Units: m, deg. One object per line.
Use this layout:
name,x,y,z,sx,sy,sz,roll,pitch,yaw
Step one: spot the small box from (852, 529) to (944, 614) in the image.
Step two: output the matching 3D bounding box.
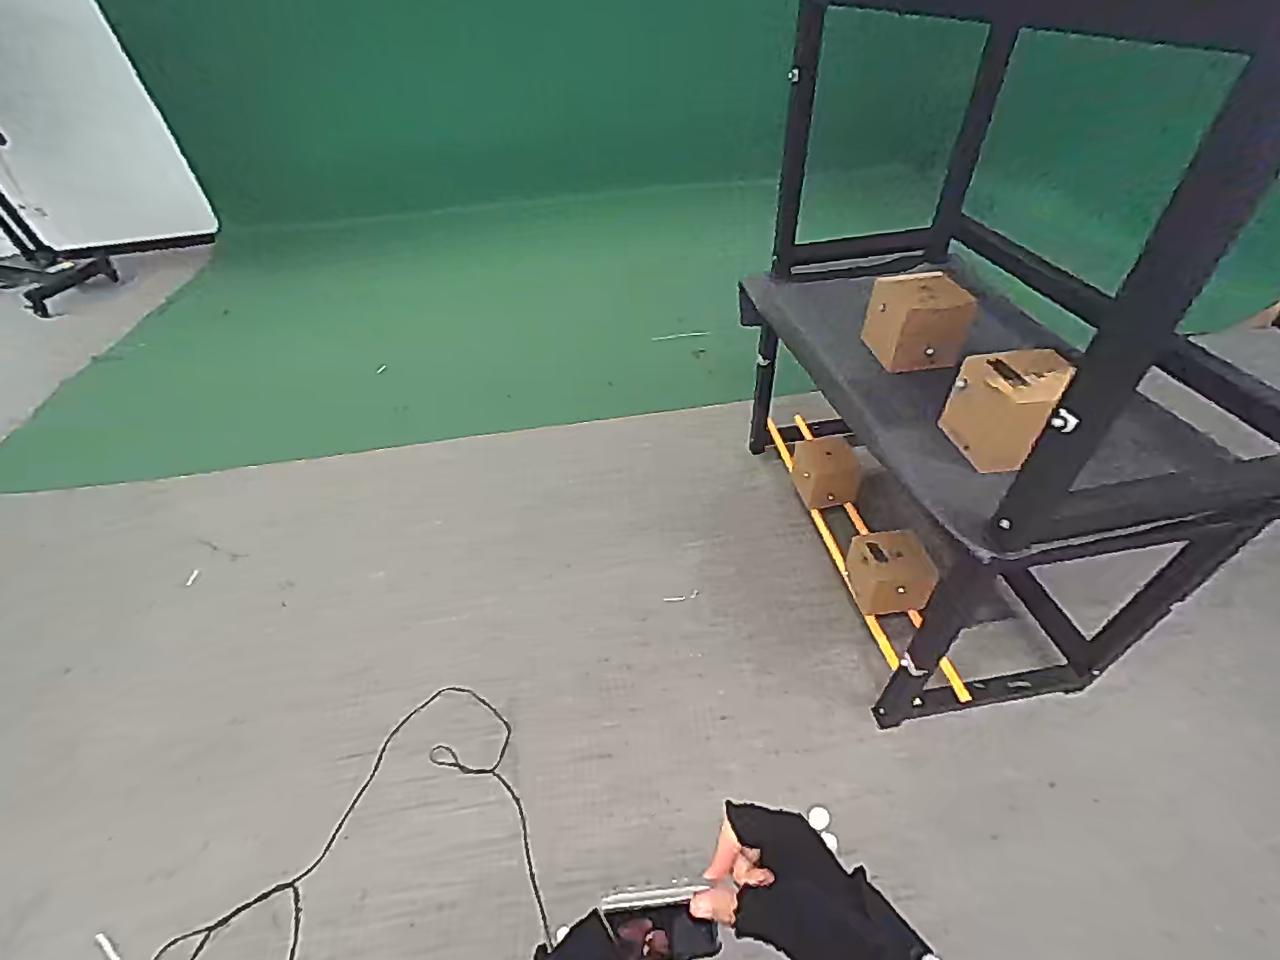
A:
small box,0.717,0.264,1.533,0.179,0.176,0.168,-6,44,-1

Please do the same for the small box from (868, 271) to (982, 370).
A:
small box,0.680,-0.387,1.316,0.168,0.176,0.179,-7,43,-1
